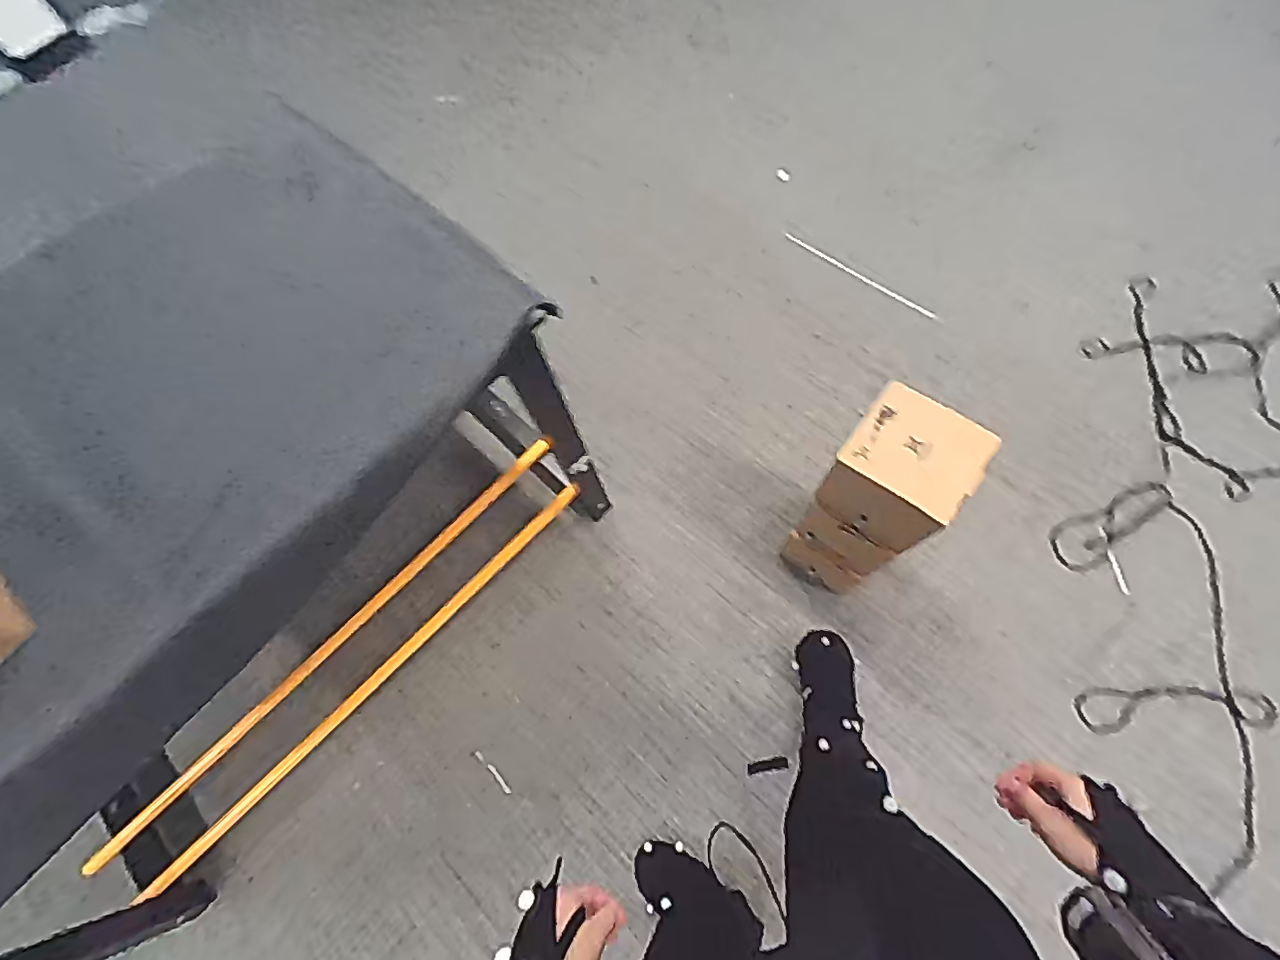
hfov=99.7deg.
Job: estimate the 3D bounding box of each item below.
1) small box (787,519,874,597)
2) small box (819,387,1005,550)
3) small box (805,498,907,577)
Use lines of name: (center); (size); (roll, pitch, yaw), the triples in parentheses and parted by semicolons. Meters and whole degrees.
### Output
small box: (0.434, 0.124, 1.154); (0.168, 0.176, 0.179); (35, 76, 18)
small box: (0.414, -0.008, 0.854); (0.179, 0.176, 0.168); (36, 76, 17)
small box: (0.427, 0.056, 1.005); (0.168, 0.176, 0.179); (36, 75, 17)
